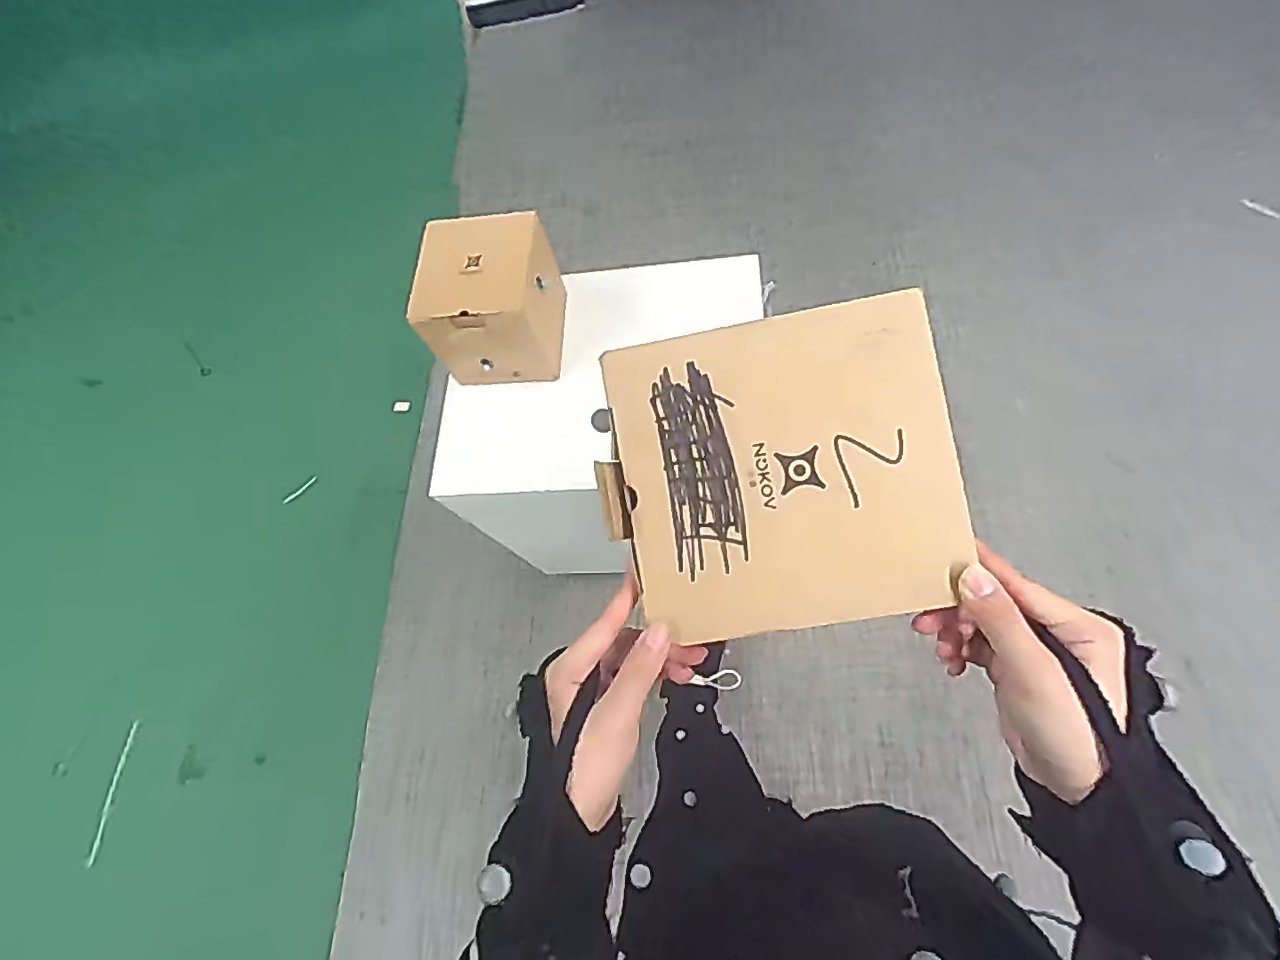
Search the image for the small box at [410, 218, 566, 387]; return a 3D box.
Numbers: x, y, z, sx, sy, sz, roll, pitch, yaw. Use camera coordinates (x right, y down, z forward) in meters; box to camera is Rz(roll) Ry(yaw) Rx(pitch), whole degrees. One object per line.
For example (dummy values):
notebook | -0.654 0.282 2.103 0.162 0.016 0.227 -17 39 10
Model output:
small box | -0.214 -0.258 0.813 0.168 0.176 0.179 -2 69 8
